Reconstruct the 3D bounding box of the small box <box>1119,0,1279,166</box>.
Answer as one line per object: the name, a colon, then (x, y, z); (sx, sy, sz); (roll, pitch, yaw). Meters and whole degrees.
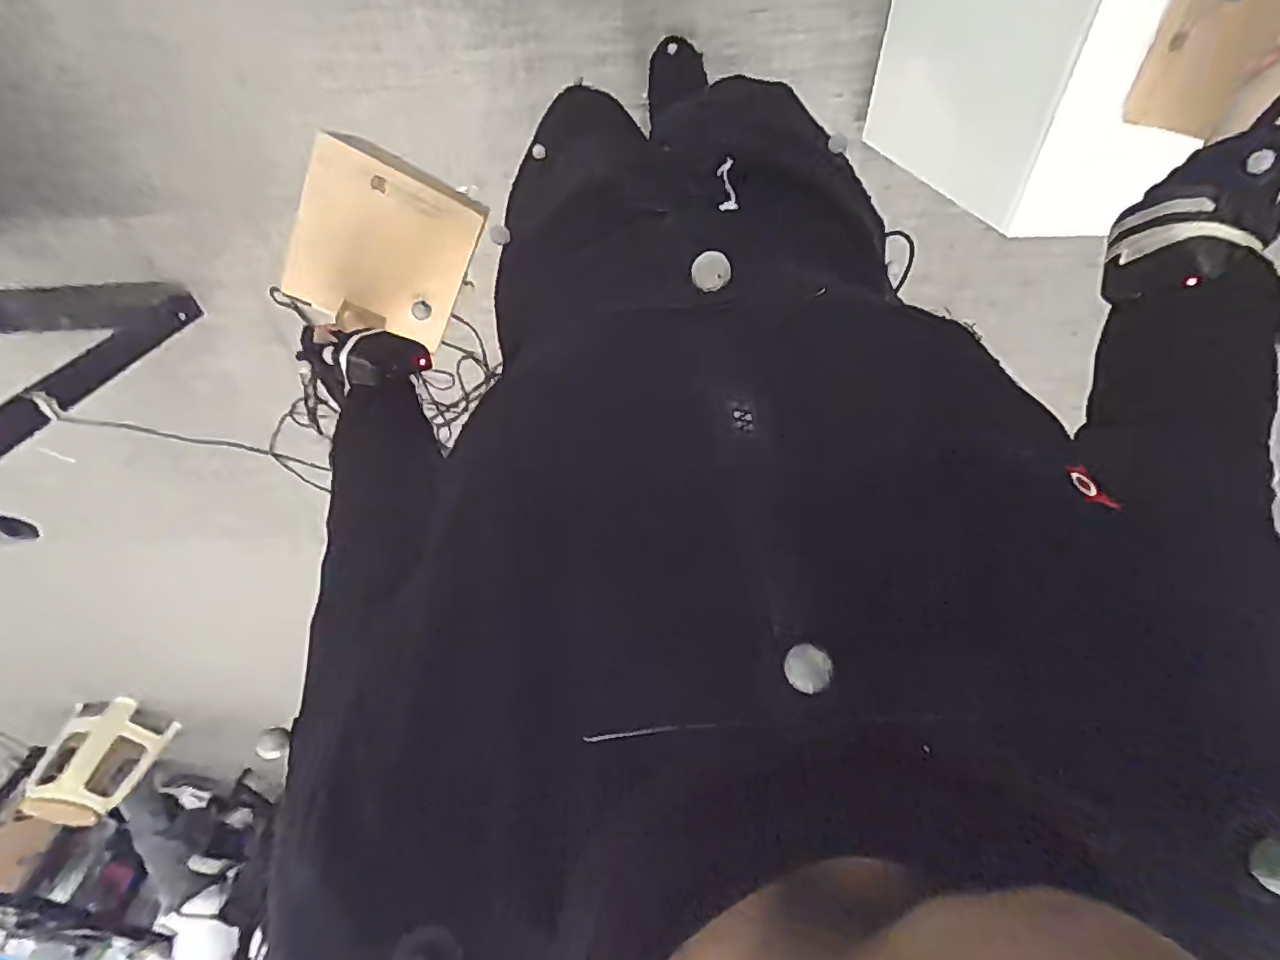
small box: (0.544, -0.354, 0.411); (0.179, 0.176, 0.168); (-2, 133, 0)
